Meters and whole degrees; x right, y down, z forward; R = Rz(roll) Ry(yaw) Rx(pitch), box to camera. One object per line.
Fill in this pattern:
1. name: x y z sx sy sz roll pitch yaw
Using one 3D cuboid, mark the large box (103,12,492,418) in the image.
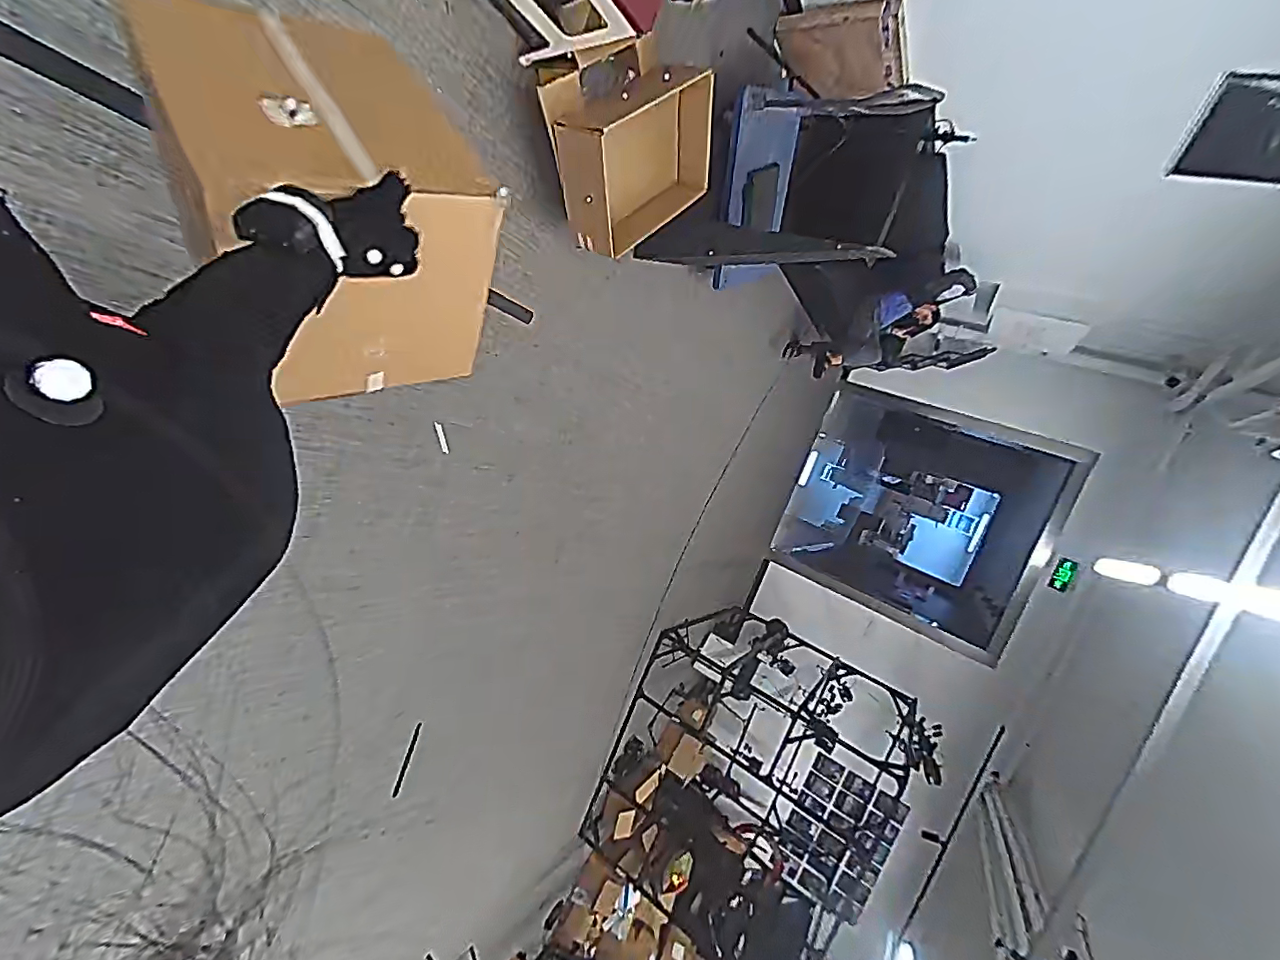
1. large box: -0.470 -0.359 0.776 0.320 0.408 0.320 -21 156 -37
